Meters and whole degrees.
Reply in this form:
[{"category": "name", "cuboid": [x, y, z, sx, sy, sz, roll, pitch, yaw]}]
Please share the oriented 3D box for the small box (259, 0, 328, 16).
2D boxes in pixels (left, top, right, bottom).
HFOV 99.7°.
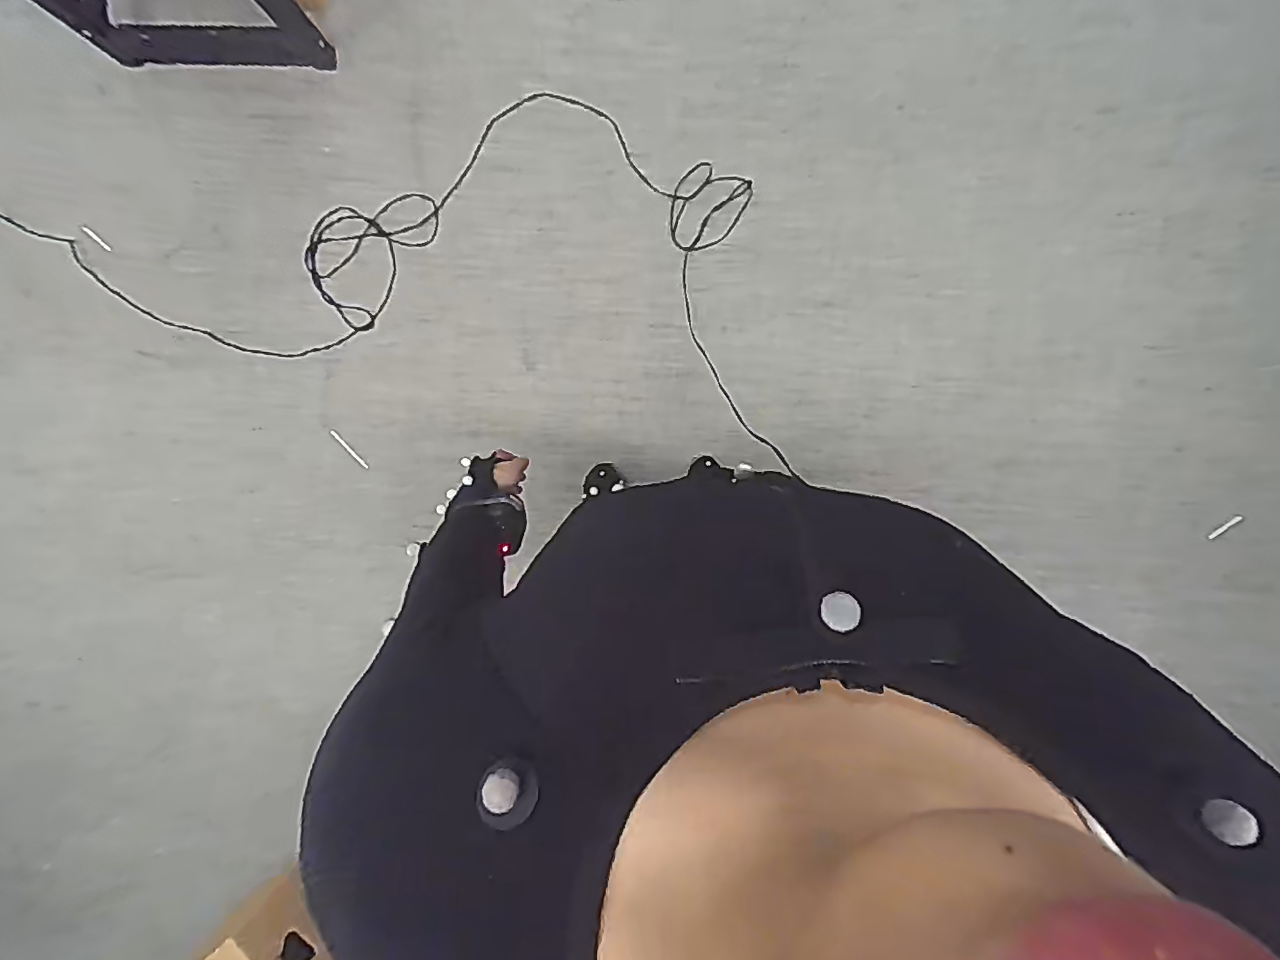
[{"category": "small box", "cuboid": [-0.887, -1.294, 1.329, 0.179, 0.176, 0.168, 7, 95, 1]}]
